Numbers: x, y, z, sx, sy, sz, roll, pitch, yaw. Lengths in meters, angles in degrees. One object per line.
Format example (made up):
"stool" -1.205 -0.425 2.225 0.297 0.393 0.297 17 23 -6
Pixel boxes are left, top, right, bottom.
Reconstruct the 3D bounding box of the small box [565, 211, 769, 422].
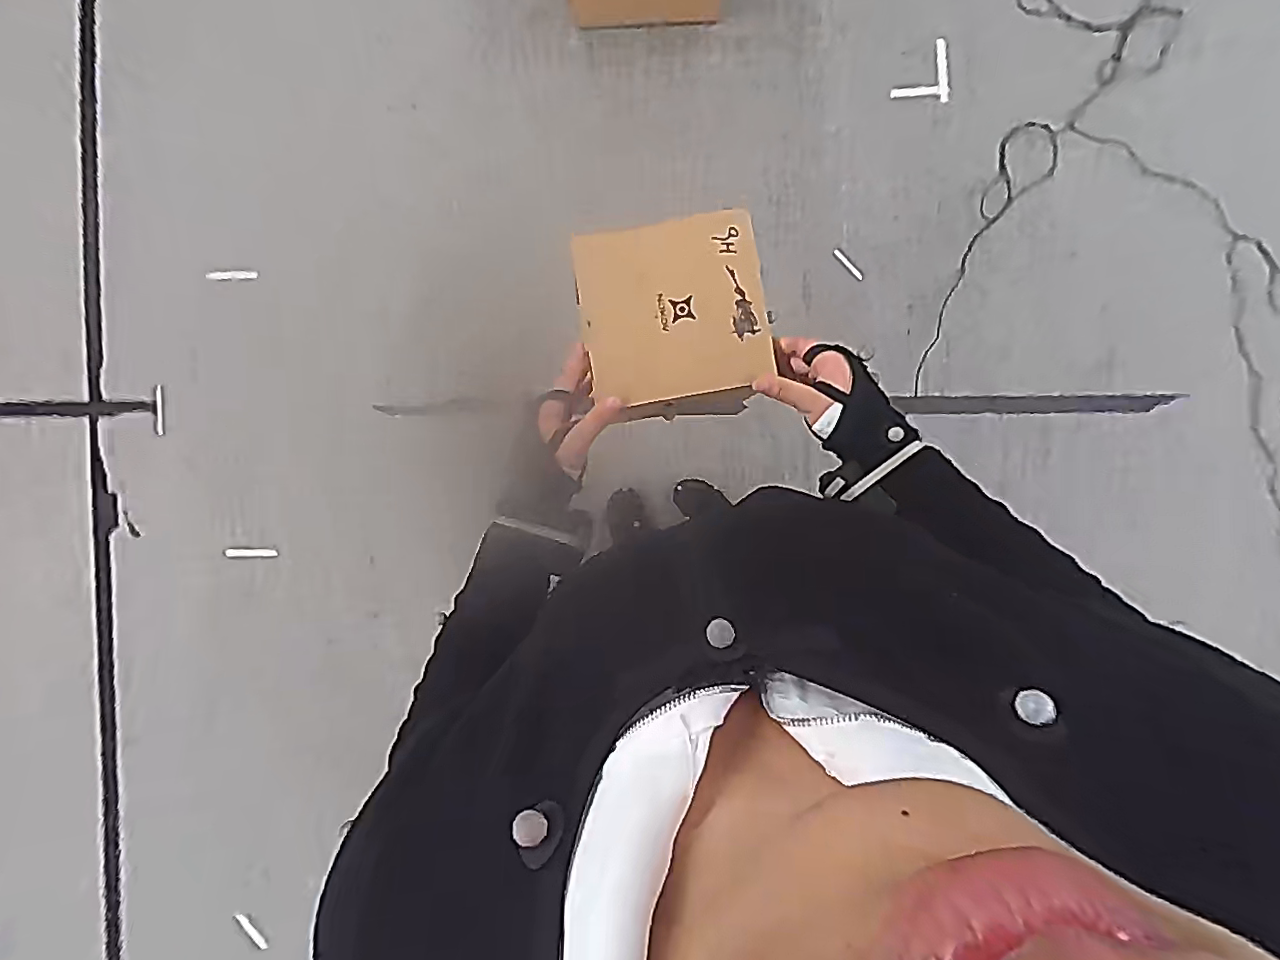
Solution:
"small box" 0.027 -0.162 0.591 0.179 0.176 0.168 -10 91 1
